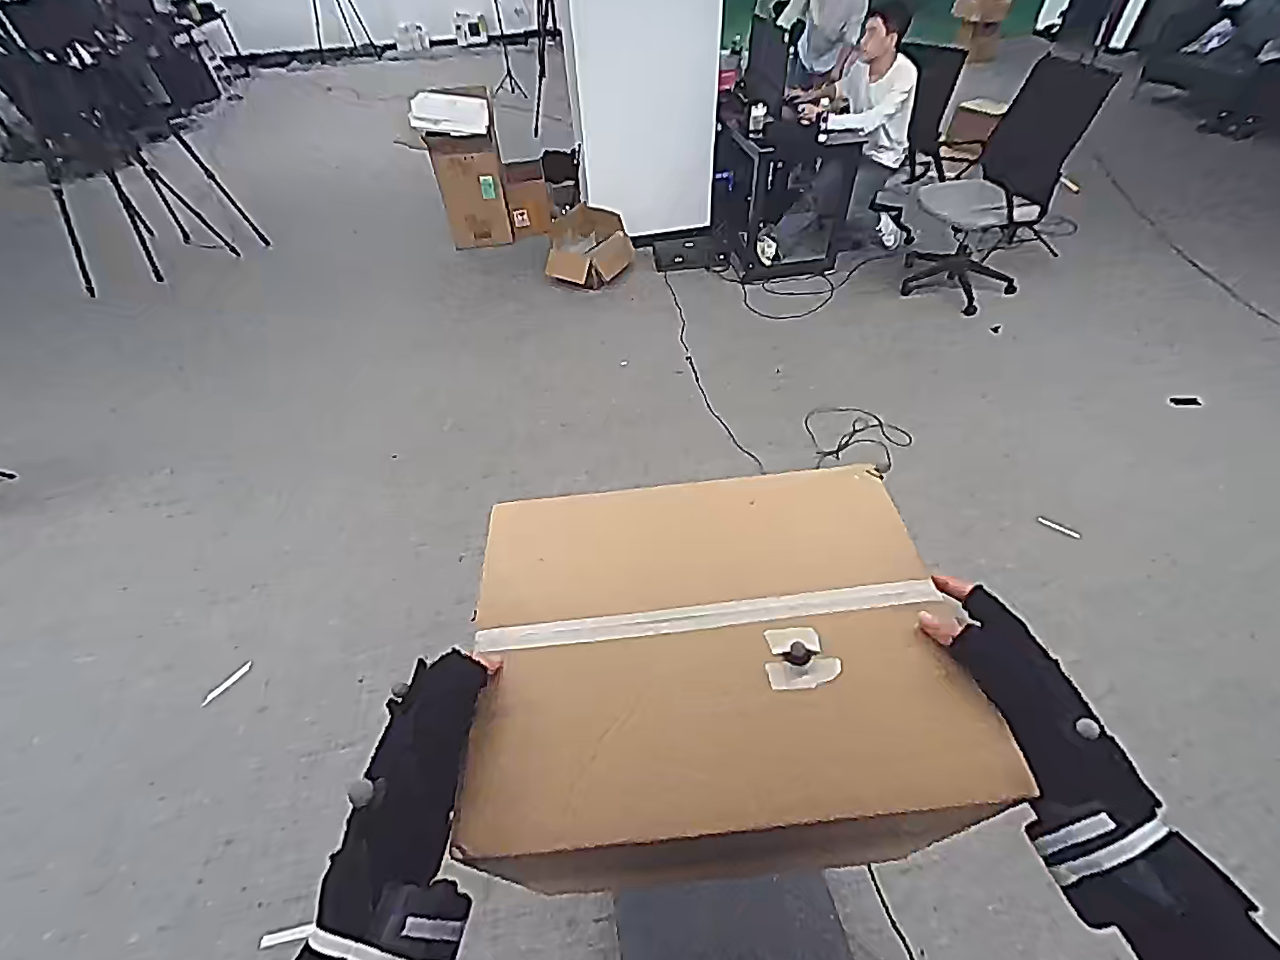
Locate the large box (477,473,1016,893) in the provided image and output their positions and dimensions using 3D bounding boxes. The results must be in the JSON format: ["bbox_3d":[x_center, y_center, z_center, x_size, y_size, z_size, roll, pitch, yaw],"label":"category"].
[{"bbox_3d":[0.073,0.226,0.596,0.408,0.320,0.320,-6,49,0],"label":"large box"}]
